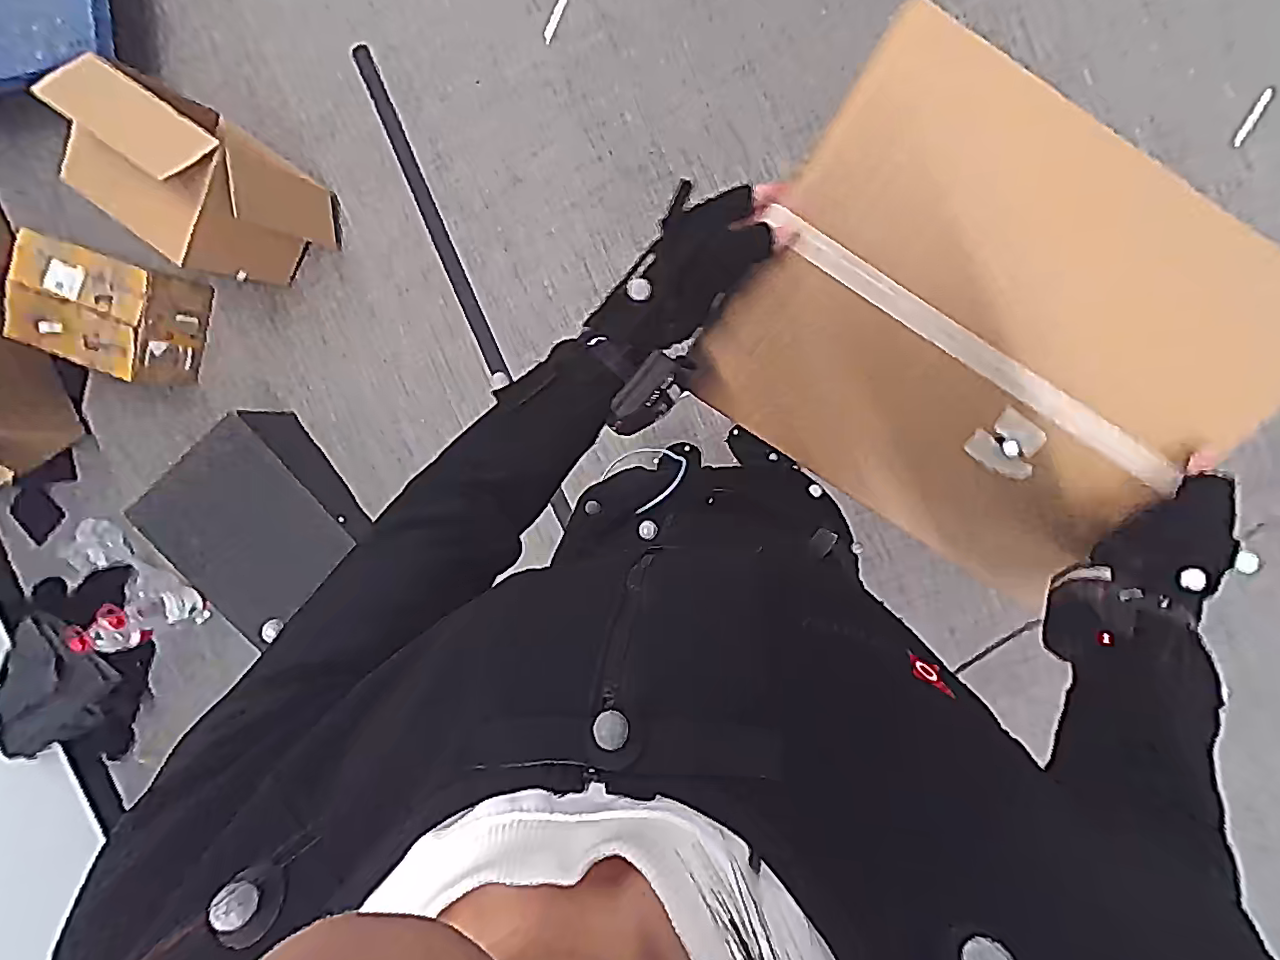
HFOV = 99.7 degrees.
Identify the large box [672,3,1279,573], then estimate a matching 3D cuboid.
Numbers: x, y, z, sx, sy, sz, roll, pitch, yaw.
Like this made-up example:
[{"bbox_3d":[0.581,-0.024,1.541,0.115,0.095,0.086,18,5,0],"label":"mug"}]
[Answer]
[{"bbox_3d":[0.292,-0.179,0.583,0.408,0.320,0.320,30,116,-3],"label":"large box"}]
